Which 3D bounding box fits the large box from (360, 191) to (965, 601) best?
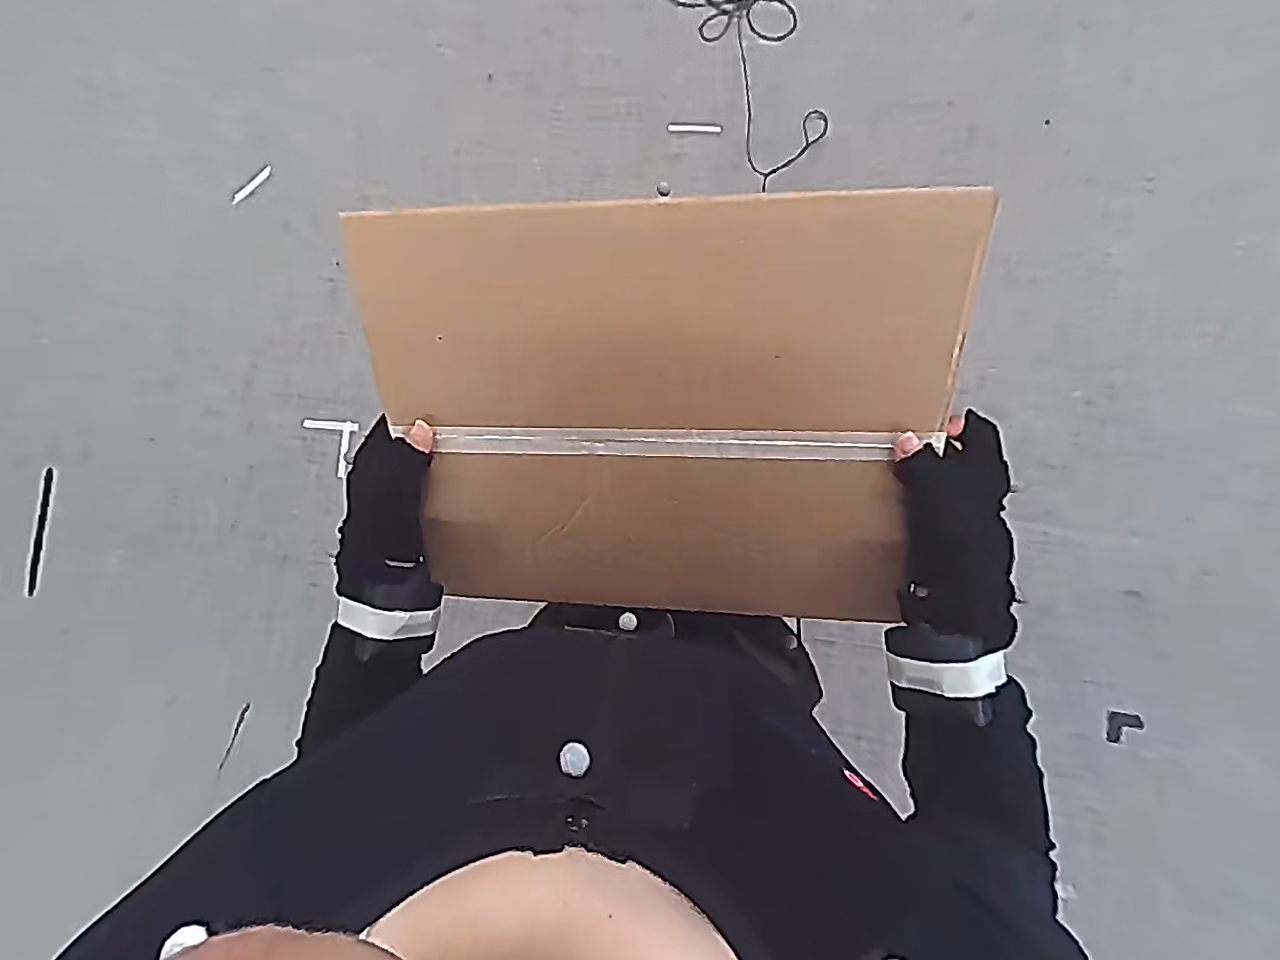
[{"bbox_3d":[0.028,-0.103,0.545,0.408,0.320,0.320,1,117,8],"label":"large box"}]
